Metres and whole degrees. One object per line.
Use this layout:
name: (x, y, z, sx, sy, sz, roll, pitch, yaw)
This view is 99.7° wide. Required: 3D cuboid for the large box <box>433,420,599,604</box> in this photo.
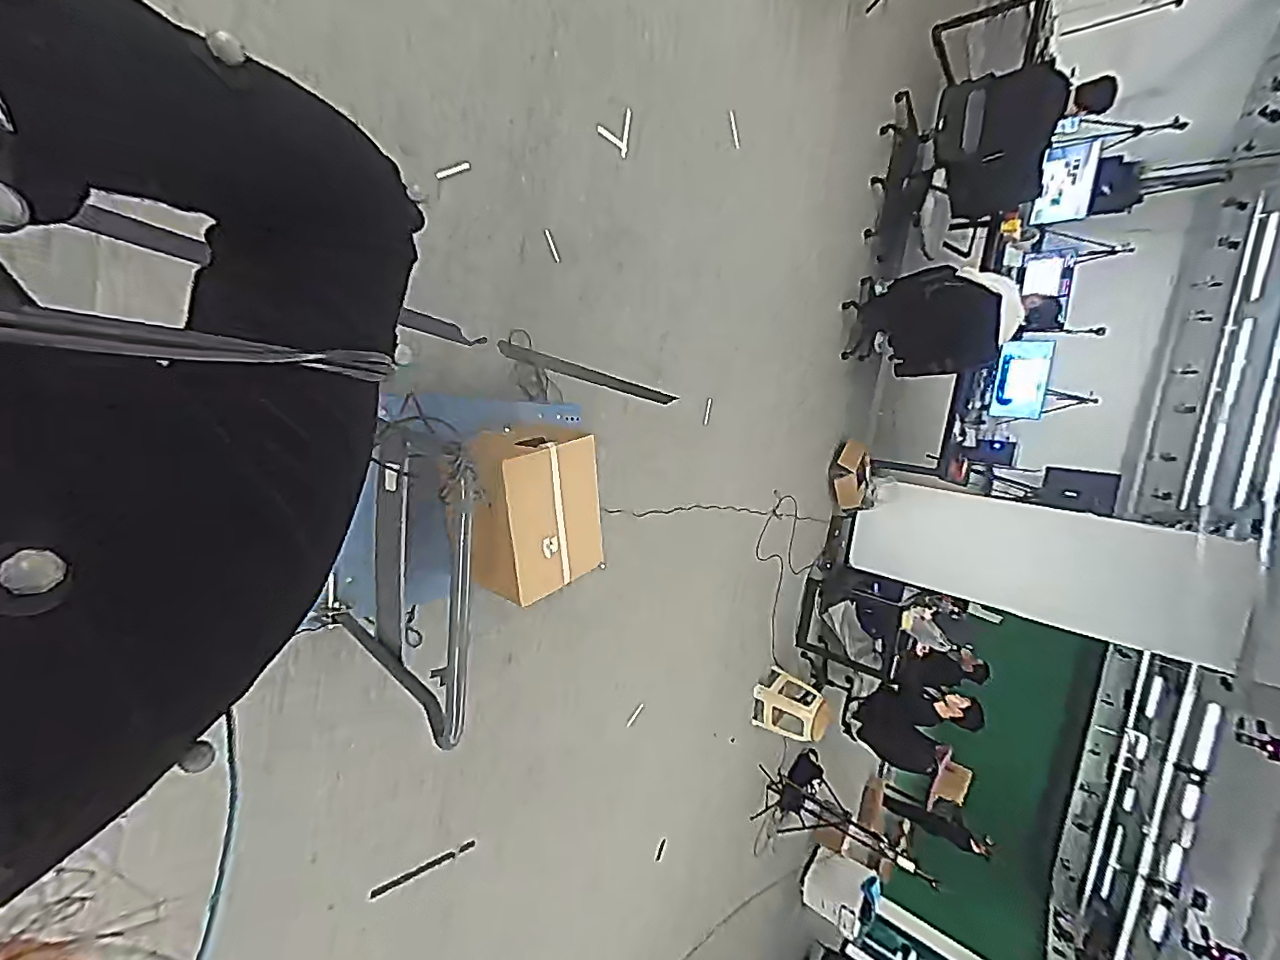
large box: (-0.343, 0.070, 1.533, 0.320, 0.320, 0.408, -23, 118, -45)
